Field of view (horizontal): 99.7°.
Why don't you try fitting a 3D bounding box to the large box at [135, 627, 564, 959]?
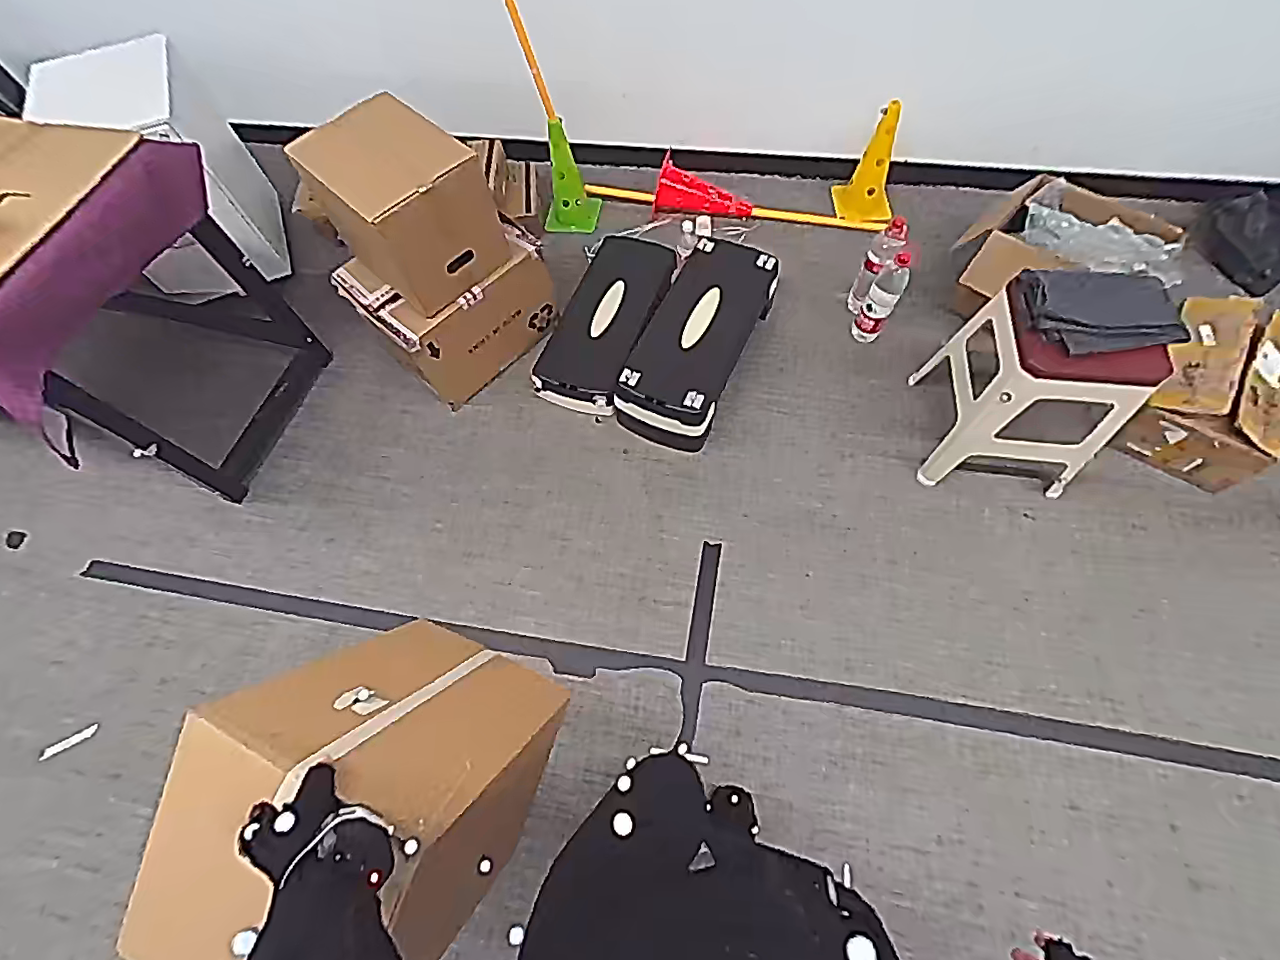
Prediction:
[{"bbox_3d":[-0.362,0.465,0.773,0.320,0.408,0.320,21,96,14],"label":"large box"}]
